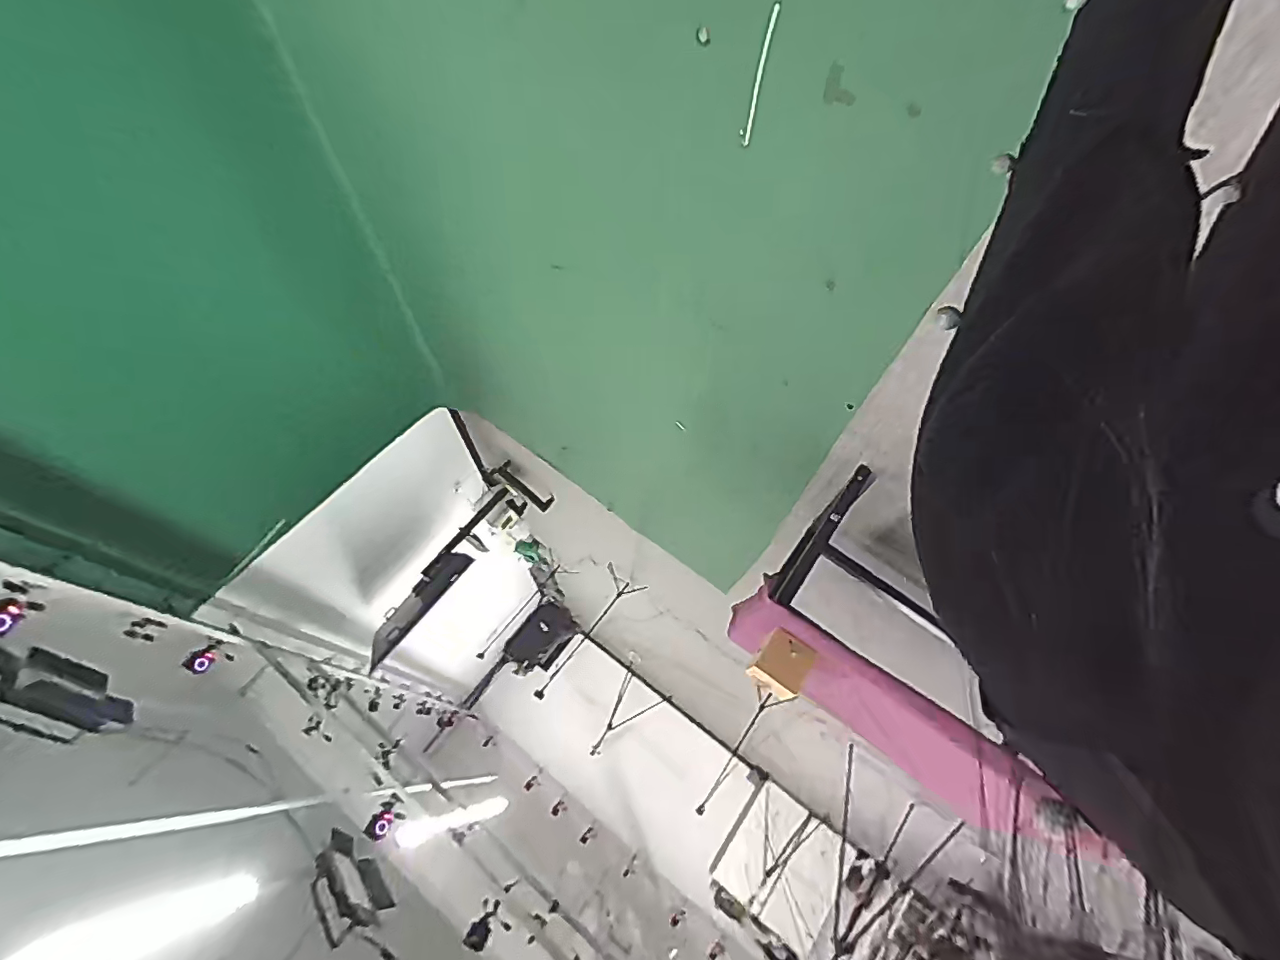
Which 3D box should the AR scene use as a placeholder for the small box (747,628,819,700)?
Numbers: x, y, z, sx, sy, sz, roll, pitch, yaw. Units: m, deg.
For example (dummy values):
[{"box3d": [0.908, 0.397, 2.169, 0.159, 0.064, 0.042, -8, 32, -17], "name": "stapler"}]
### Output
[{"box3d": [0.505, 0.647, 1.907, 0.168, 0.176, 0.179, 34, 157, 13], "name": "small box"}]
